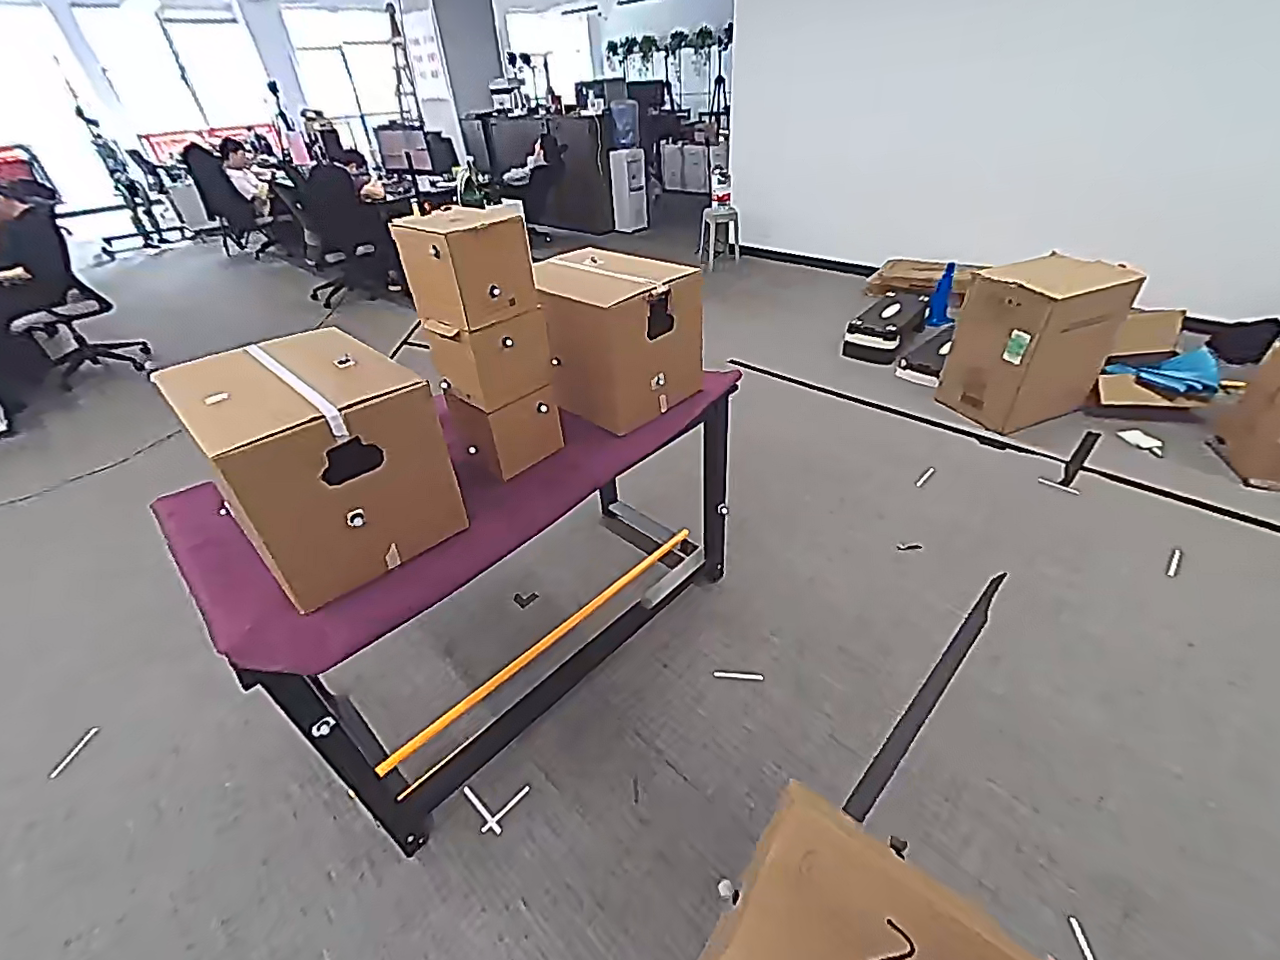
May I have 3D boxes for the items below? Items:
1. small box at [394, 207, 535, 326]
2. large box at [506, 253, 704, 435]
[{"bbox_3d":[-0.320,-0.400,1.009,0.179,0.176,0.168,24,45,32],"label":"small box"},{"bbox_3d":[-0.088,-0.358,1.367,0.408,0.320,0.320,27,46,37],"label":"large box"}]
